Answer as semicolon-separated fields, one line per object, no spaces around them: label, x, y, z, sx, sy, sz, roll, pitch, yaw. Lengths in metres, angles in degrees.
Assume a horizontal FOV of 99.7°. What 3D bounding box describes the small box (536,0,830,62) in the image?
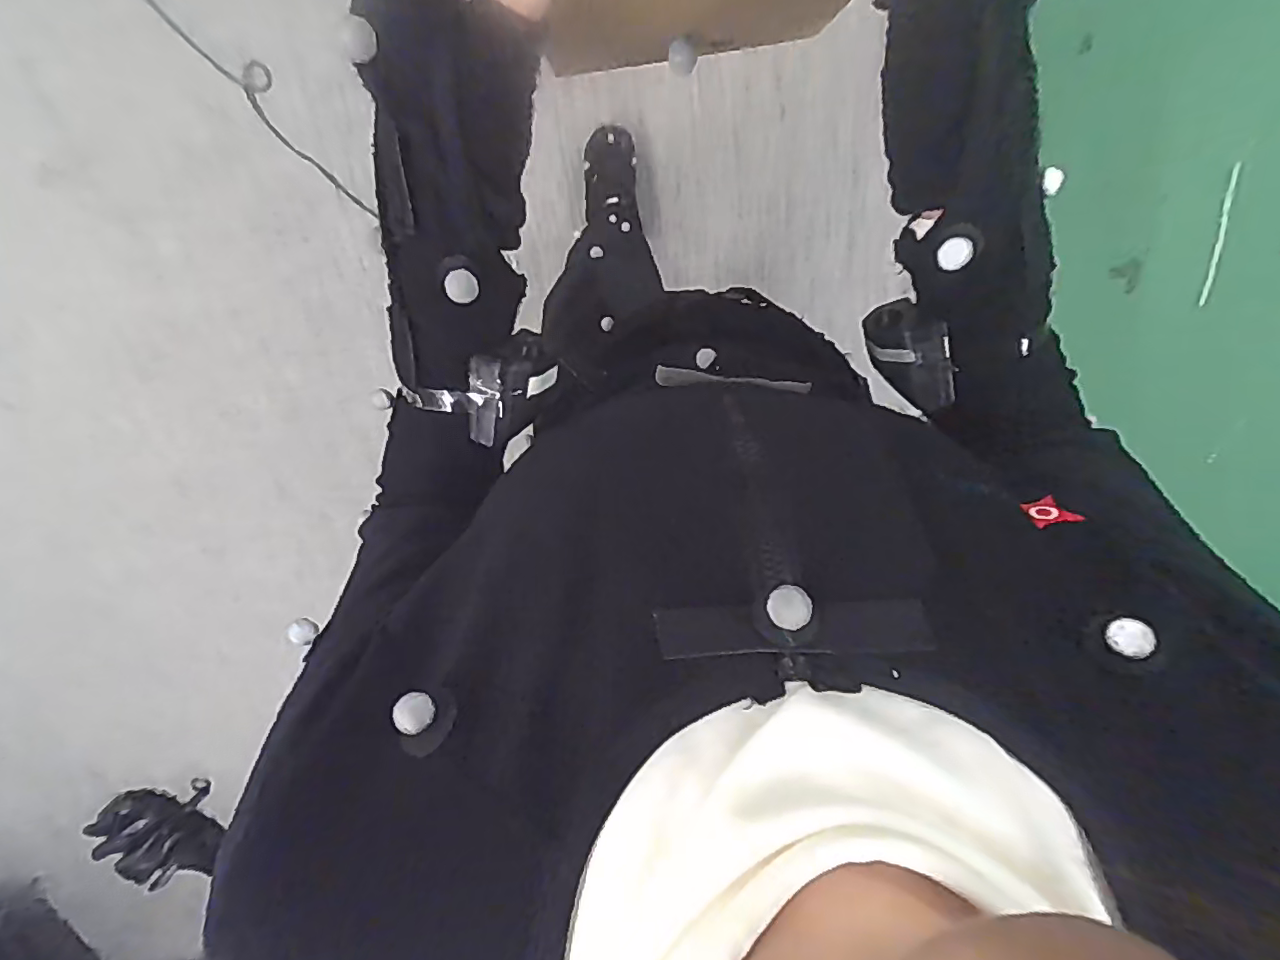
small box;0.017;-0.313;0.226;0.168;0.176;0.179;-6;116;3
